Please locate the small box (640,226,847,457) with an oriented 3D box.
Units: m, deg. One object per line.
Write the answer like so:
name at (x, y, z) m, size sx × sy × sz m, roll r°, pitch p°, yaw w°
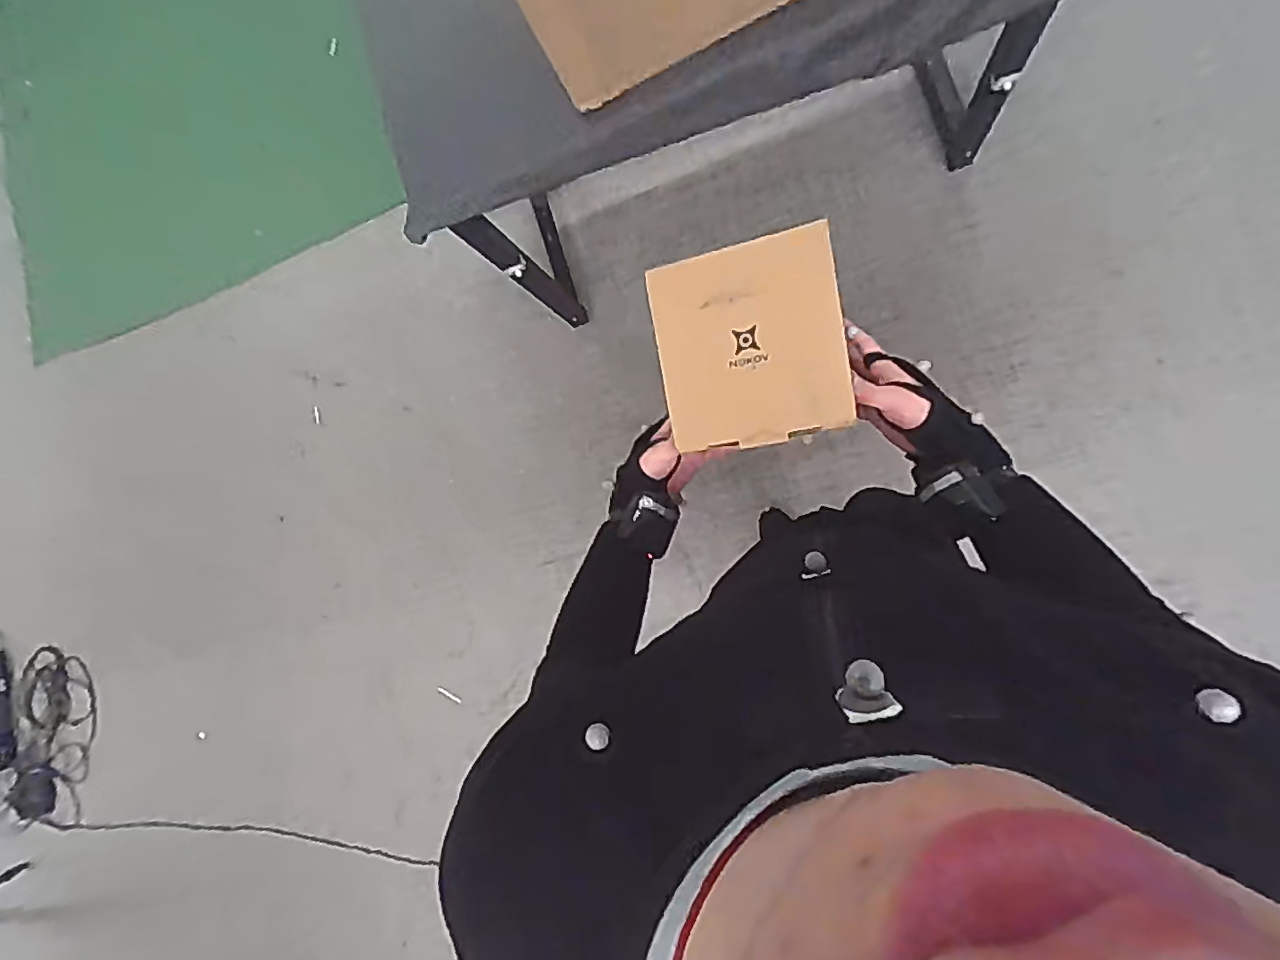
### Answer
small box at (0.115, -0.128, 0.559) m, size 0.168 × 0.176 × 0.179 m, roll -9°, pitch 94°, yaw 19°
